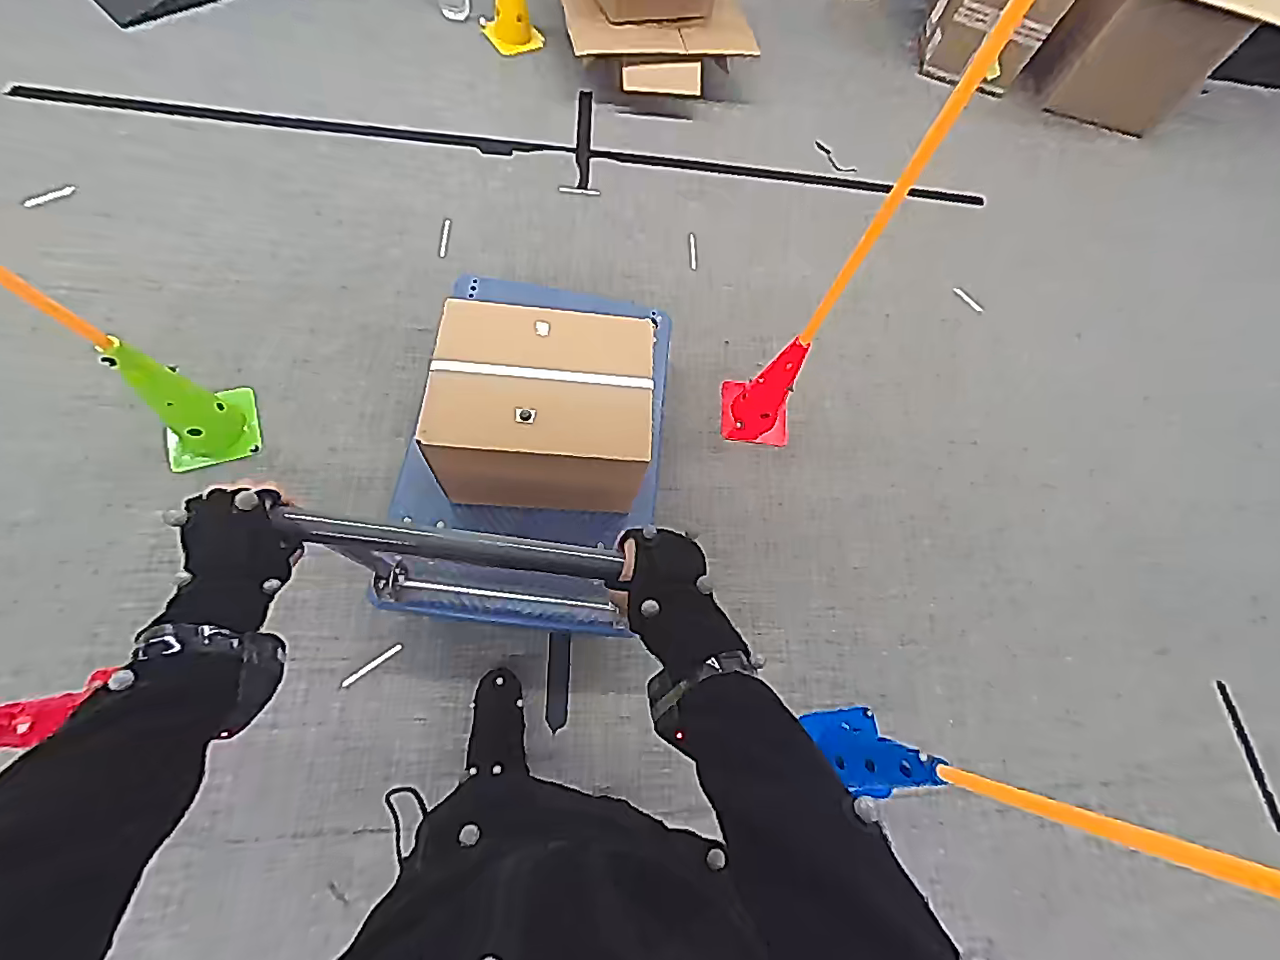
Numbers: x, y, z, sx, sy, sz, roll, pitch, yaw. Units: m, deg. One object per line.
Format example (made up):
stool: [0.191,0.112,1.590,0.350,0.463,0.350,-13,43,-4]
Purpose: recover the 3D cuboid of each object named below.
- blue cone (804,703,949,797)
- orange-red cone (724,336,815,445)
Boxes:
blue cone: [0.519,0.579,1.143,0.193,0.380,0.192,-2,67,-10]
orange-red cone: [0.377,-0.266,1.451,0.199,0.360,0.198,8,67,-6]
